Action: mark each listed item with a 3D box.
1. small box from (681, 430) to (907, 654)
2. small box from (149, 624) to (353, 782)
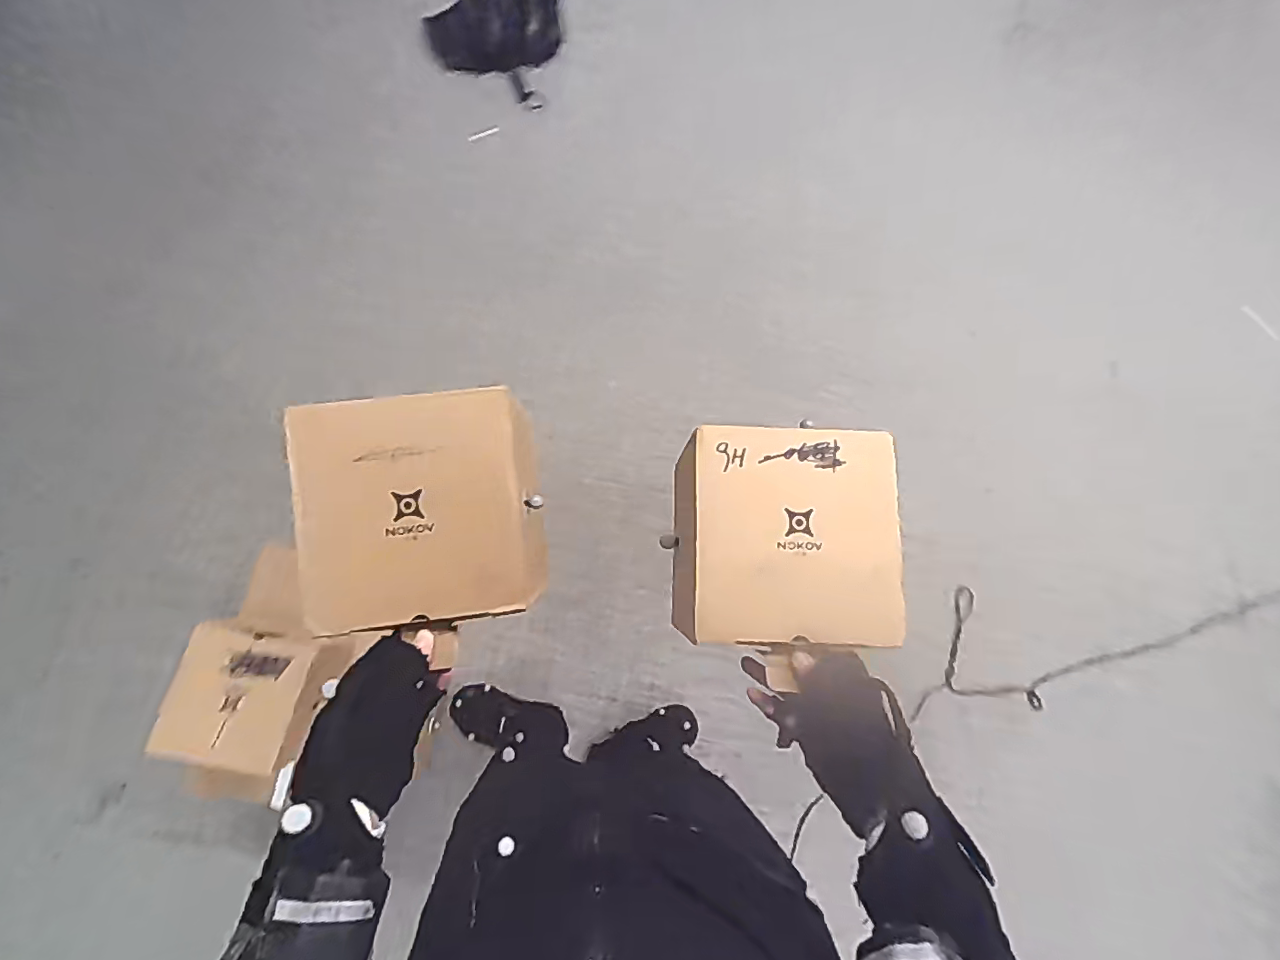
[{"bbox_3d":[0.132,0.060,0.517,0.168,0.176,0.179,3,80,-3],"label":"small box"},{"bbox_3d":[-0.569,0.326,0.825,0.168,0.176,0.179,17,74,-5],"label":"small box"}]
